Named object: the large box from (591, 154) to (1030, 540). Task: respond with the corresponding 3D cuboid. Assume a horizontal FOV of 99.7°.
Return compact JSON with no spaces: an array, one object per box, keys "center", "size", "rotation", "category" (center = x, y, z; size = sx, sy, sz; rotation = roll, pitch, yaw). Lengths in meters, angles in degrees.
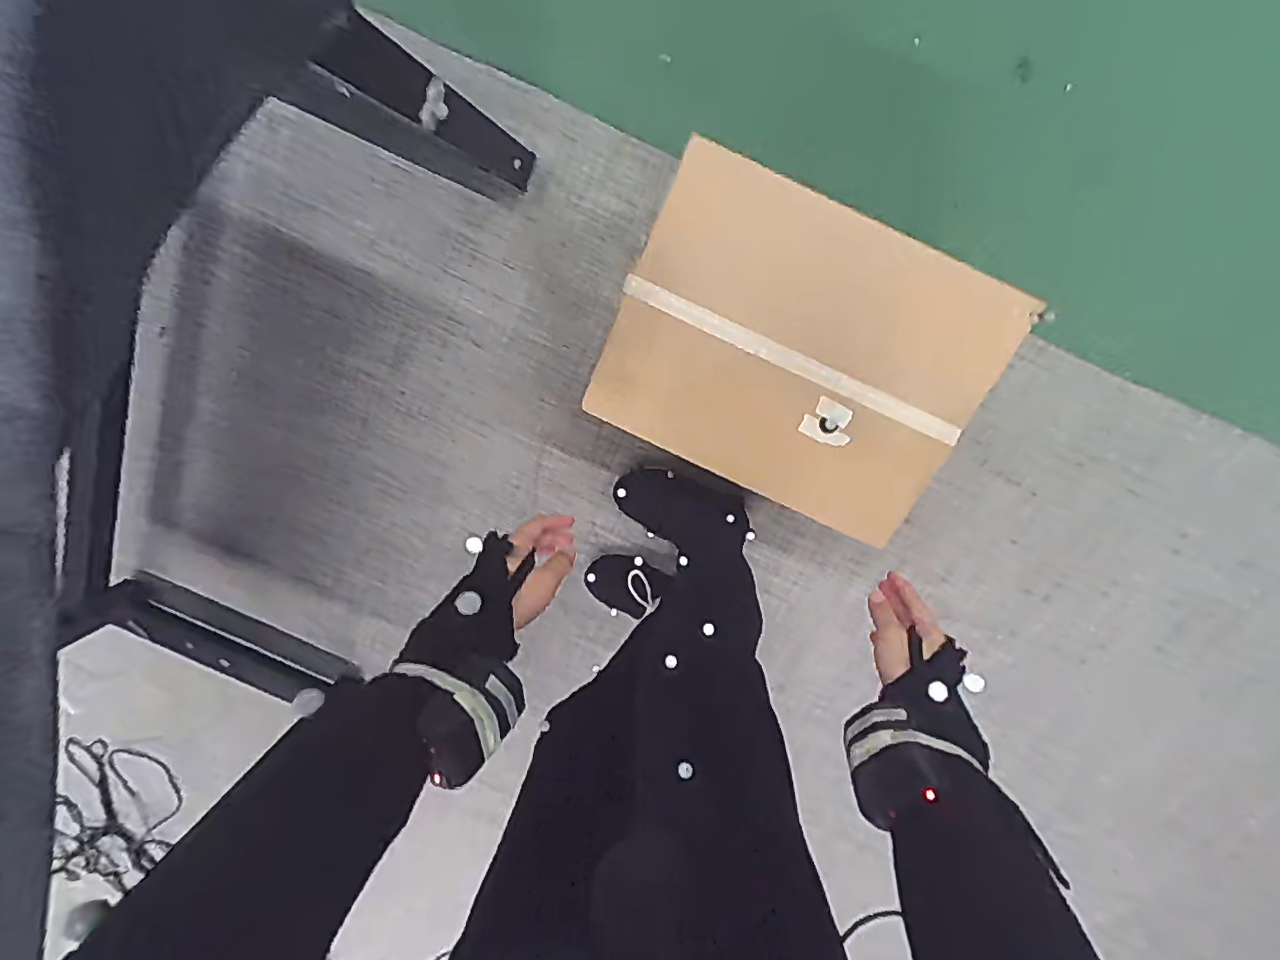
[{"center":[0.191,-0.176,0.756],"size":[0.408,0.320,0.320],"rotation":[24,108,-1],"category":"large box"}]
